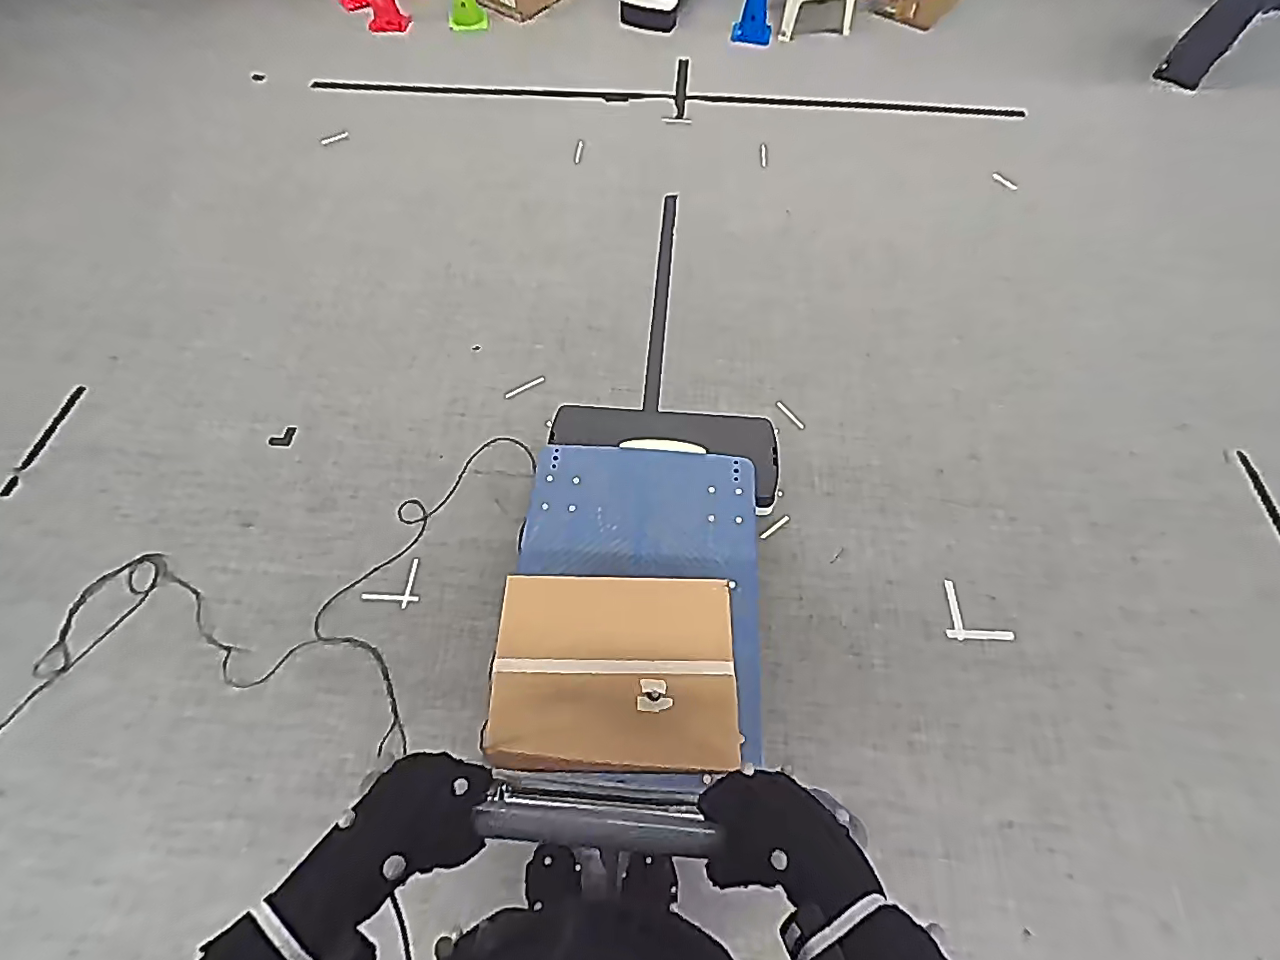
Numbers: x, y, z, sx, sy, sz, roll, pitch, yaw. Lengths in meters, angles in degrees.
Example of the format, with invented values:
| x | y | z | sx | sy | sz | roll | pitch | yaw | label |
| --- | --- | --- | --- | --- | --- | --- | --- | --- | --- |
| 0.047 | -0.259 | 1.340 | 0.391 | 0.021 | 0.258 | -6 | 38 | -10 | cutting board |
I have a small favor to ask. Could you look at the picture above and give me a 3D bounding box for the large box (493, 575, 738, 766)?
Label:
| x | y | z | sx | sy | sz | roll | pitch | yaw | label |
| --- | --- | --- | --- | --- | --- | --- | --- | --- | --- |
| -0.045 | 0.385 | 1.064 | 0.408 | 0.320 | 0.320 | 1 | 62 | -1 | large box |
